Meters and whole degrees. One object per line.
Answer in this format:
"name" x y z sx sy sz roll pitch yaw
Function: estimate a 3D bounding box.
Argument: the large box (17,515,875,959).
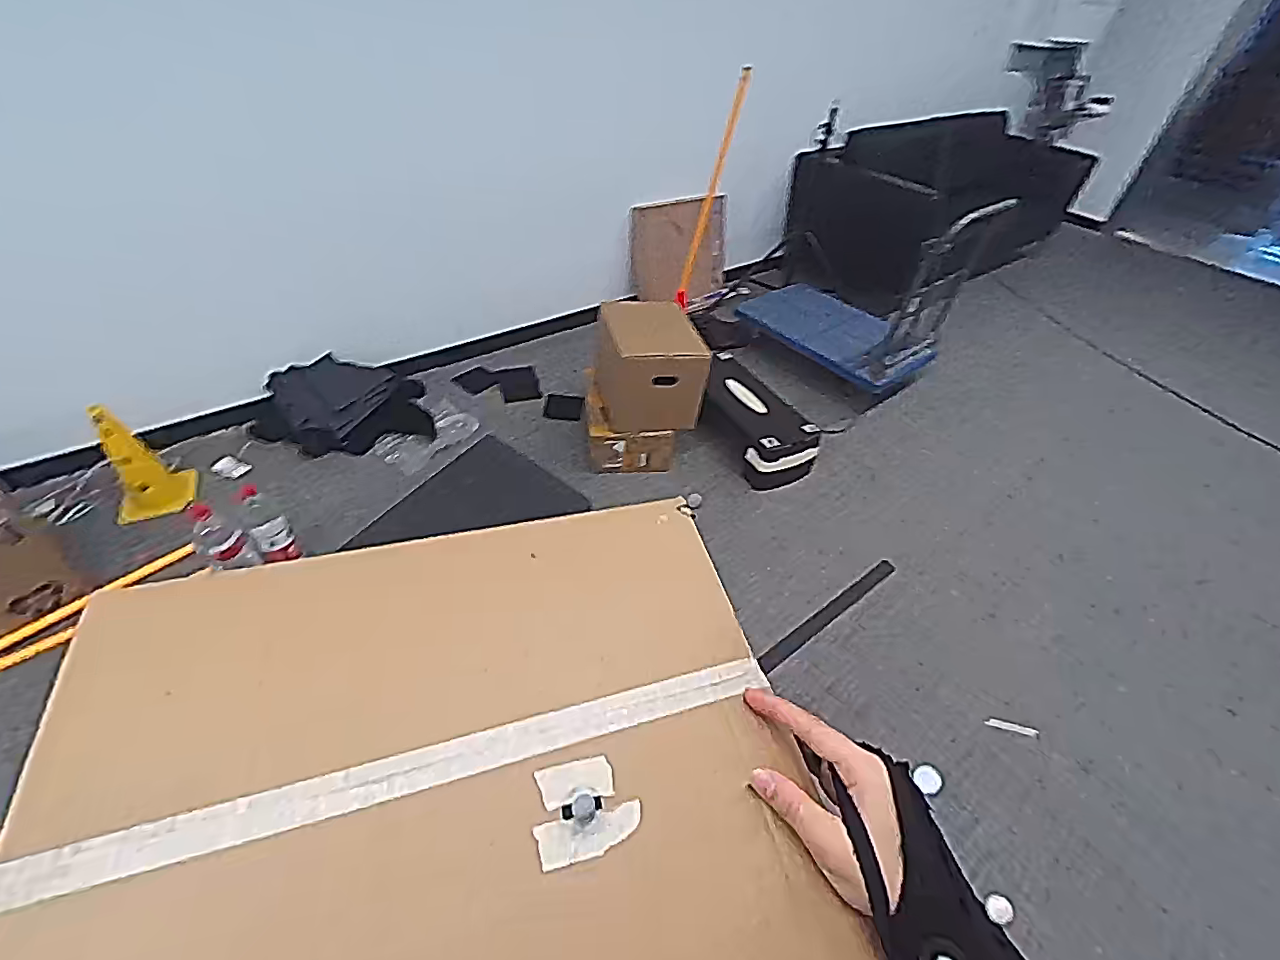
"large box" -0.124 0.267 0.430 0.408 0.320 0.320 -7 52 -18
